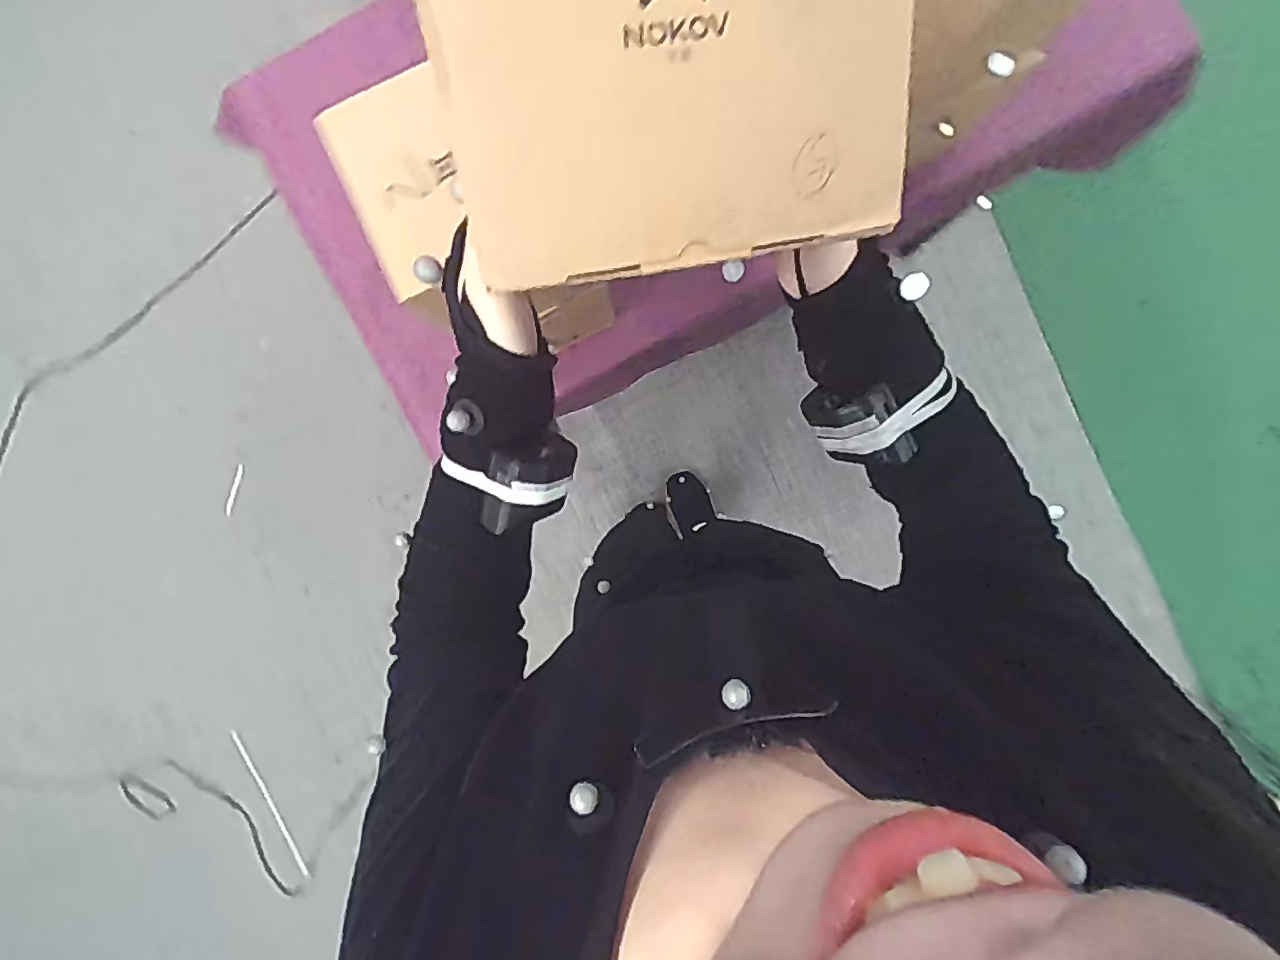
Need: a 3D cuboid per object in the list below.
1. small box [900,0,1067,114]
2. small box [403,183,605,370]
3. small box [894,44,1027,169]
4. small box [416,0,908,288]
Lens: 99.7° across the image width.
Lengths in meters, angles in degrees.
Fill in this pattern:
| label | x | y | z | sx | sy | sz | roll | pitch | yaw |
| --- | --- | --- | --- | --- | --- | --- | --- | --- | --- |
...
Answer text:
| label | x | y | z | sx | sy | sz | roll | pitch | yaw |
| --- | --- | --- | --- | --- | --- | --- | --- | --- | --- |
| small box | 0.301 | -0.499 | 0.500 | 0.168 | 0.176 | 0.179 | -29 | 91 | 2 |
| small box | -0.156 | -0.261 | 0.682 | 0.168 | 0.176 | 0.179 | -27 | 91 | 1 |
| small box | 0.309 | -0.496 | 0.665 | 0.179 | 0.176 | 0.168 | -27 | 91 | 2 |
| small box | 0.001 | -0.196 | 0.248 | 0.168 | 0.176 | 0.179 | -9 | 114 | -3 |
